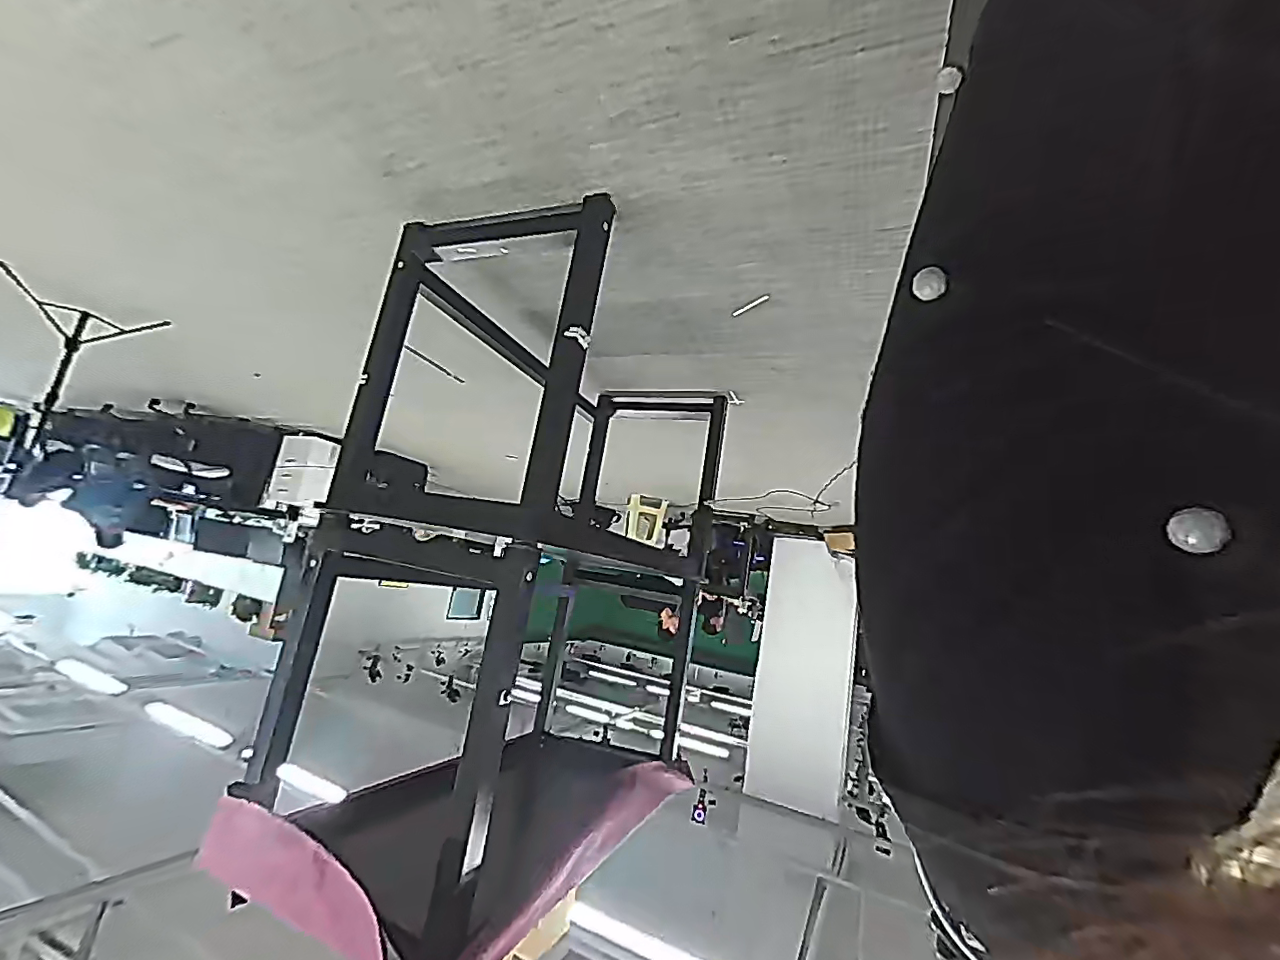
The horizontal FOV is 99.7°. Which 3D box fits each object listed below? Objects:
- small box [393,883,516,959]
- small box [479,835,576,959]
[{"bbox_3d":[-0.366,0.931,1.048,0.168,0.176,0.179,6,170,21],"label":"small box"},{"bbox_3d":[-0.275,0.995,1.307,0.179,0.176,0.168,5,169,25],"label":"small box"}]
